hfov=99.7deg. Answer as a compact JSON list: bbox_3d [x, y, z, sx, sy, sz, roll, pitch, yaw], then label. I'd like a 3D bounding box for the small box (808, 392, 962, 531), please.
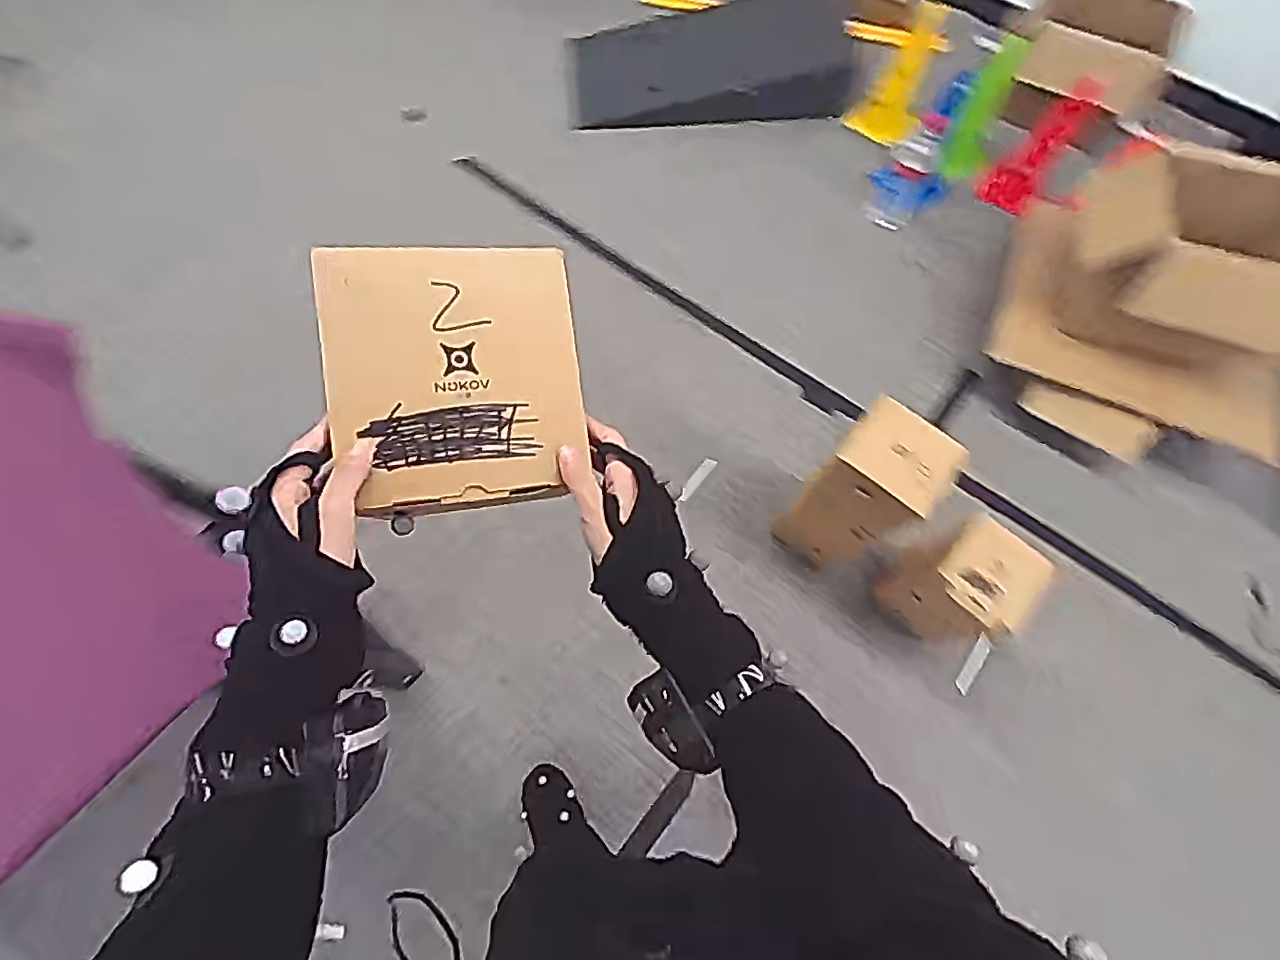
[{"bbox_3d":[0.451,-0.027,1.024,0.179,0.176,0.168,38,73,10],"label":"small box"}]

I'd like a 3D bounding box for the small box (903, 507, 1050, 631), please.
[{"bbox_3d":[0.682,0.192,1.122,0.168,0.176,0.179,40,73,12],"label":"small box"}]

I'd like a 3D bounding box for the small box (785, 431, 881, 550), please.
[{"bbox_3d":[0.446,0.032,1.178,0.179,0.176,0.168,37,73,10],"label":"small box"}]

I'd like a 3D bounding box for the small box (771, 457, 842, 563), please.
[{"bbox_3d":[0.443,0.081,1.334,0.168,0.176,0.179,36,71,10],"label":"small box"}]

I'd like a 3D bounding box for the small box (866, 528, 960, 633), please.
[{"bbox_3d":[0.679,0.244,1.279,0.179,0.176,0.168,42,74,12],"label":"small box"}]
